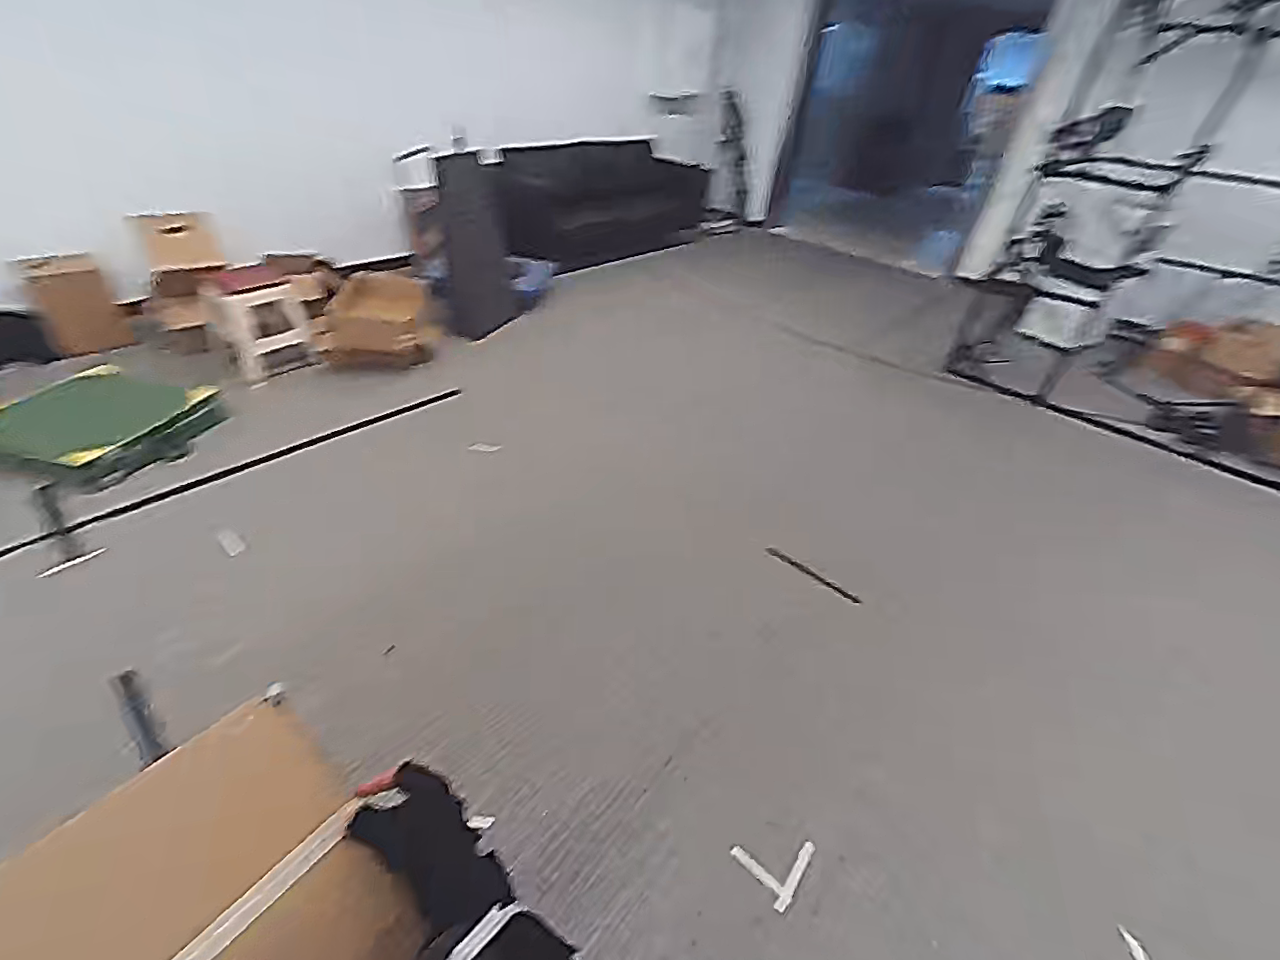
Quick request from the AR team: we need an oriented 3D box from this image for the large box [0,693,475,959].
[{"bbox_3d":[-0.402,0.494,0.474,0.320,0.320,0.408,36,46,19],"label":"large box"}]
